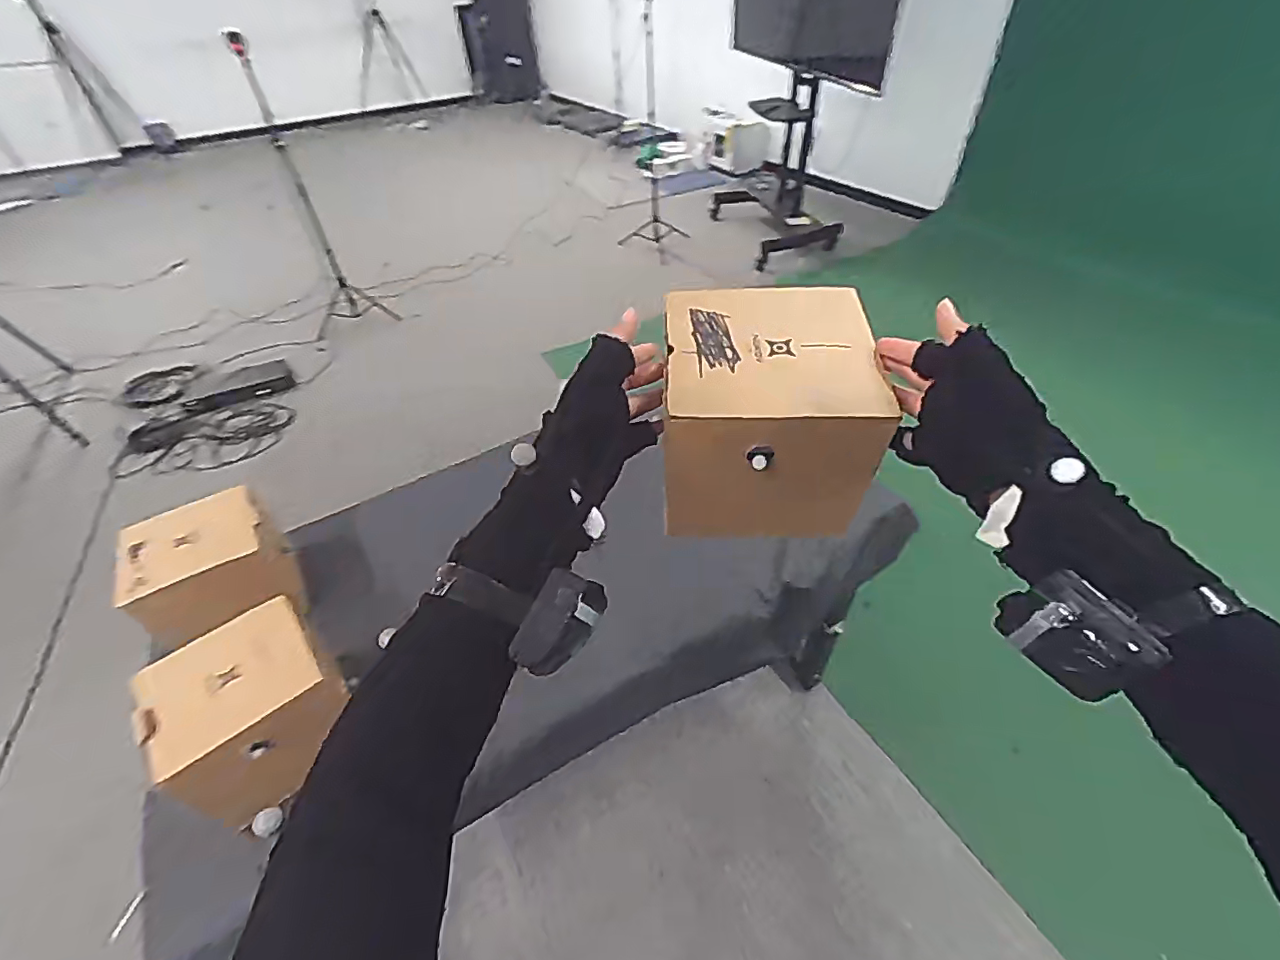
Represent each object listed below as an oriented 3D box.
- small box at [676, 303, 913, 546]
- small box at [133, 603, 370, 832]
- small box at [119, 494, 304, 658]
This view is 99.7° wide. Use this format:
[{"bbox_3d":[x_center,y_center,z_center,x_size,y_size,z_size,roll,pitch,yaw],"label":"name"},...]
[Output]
[{"bbox_3d":[0.123,-0.049,0.514,0.179,0.176,0.168,1,51,2],"label":"small box"},{"bbox_3d":[-0.485,0.302,0.691,0.179,0.176,0.168,-31,50,-29],"label":"small box"},{"bbox_3d":[-0.659,0.158,0.853,0.179,0.176,0.168,-24,48,-23],"label":"small box"}]
